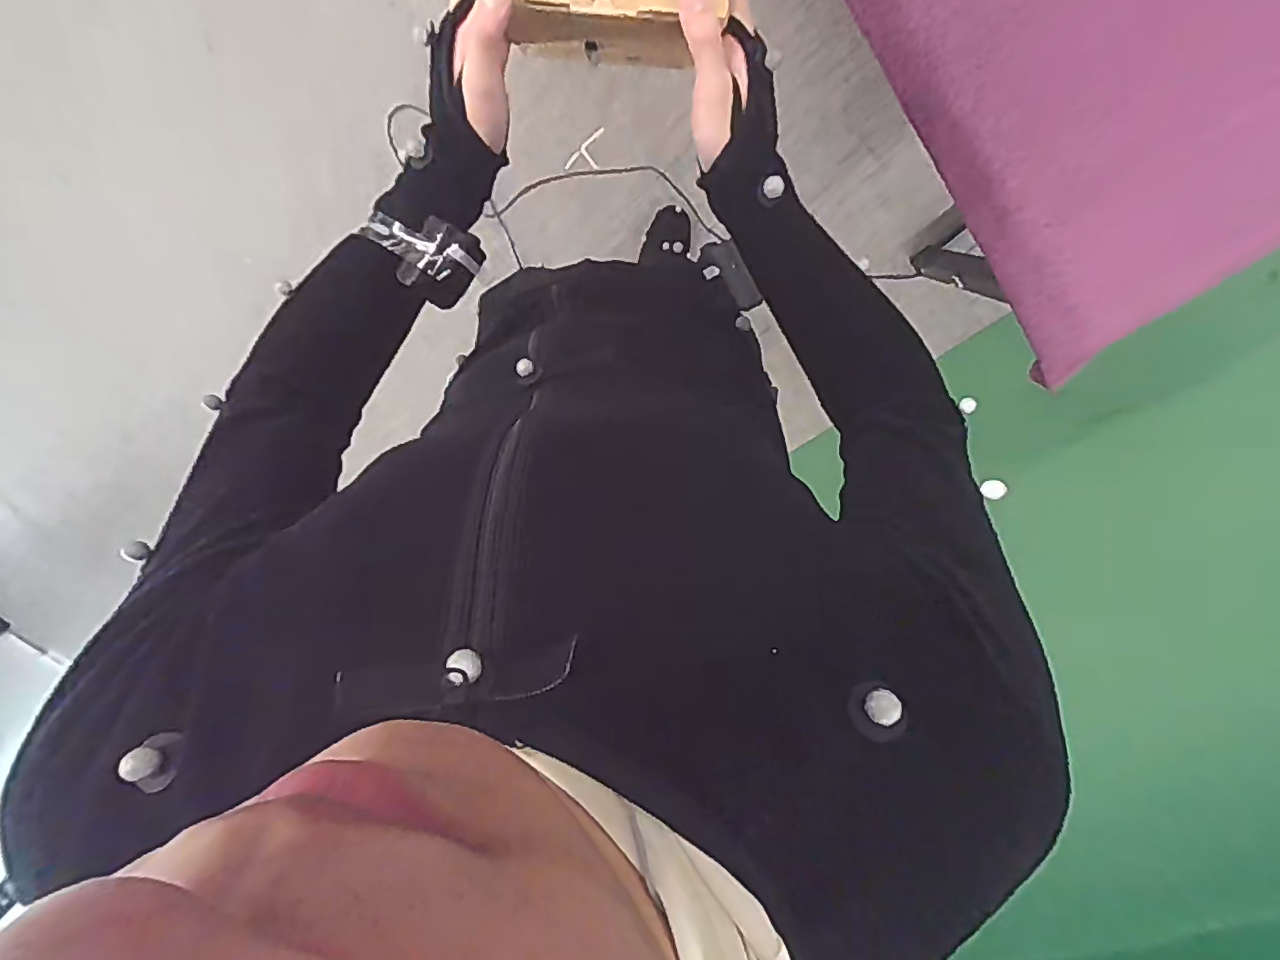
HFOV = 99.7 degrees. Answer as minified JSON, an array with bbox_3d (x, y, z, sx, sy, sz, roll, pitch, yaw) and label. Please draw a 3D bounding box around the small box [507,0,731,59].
[{"bbox_3d":[-0.018,-0.424,0.377,0.168,0.176,0.179,3,121,-3],"label":"small box"}]
